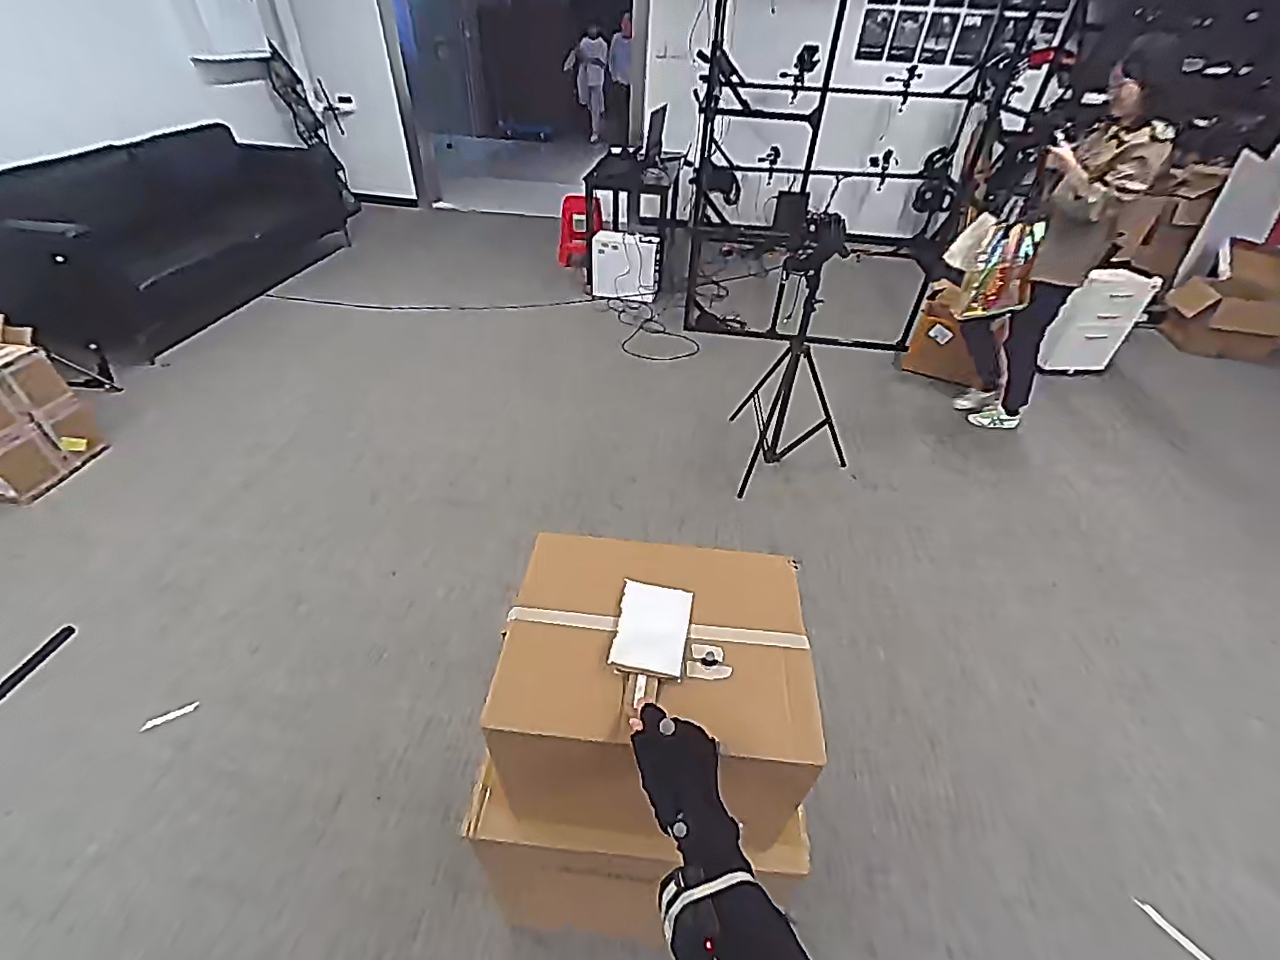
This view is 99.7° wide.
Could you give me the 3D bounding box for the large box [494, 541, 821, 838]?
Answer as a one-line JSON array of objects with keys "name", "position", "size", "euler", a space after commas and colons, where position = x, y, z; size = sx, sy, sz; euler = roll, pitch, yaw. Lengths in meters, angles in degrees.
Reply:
[{"name": "large box", "position": [0.021, 0.326, 0.853], "size": [0.408, 0.320, 0.320], "euler": [5, 41, 2]}]
